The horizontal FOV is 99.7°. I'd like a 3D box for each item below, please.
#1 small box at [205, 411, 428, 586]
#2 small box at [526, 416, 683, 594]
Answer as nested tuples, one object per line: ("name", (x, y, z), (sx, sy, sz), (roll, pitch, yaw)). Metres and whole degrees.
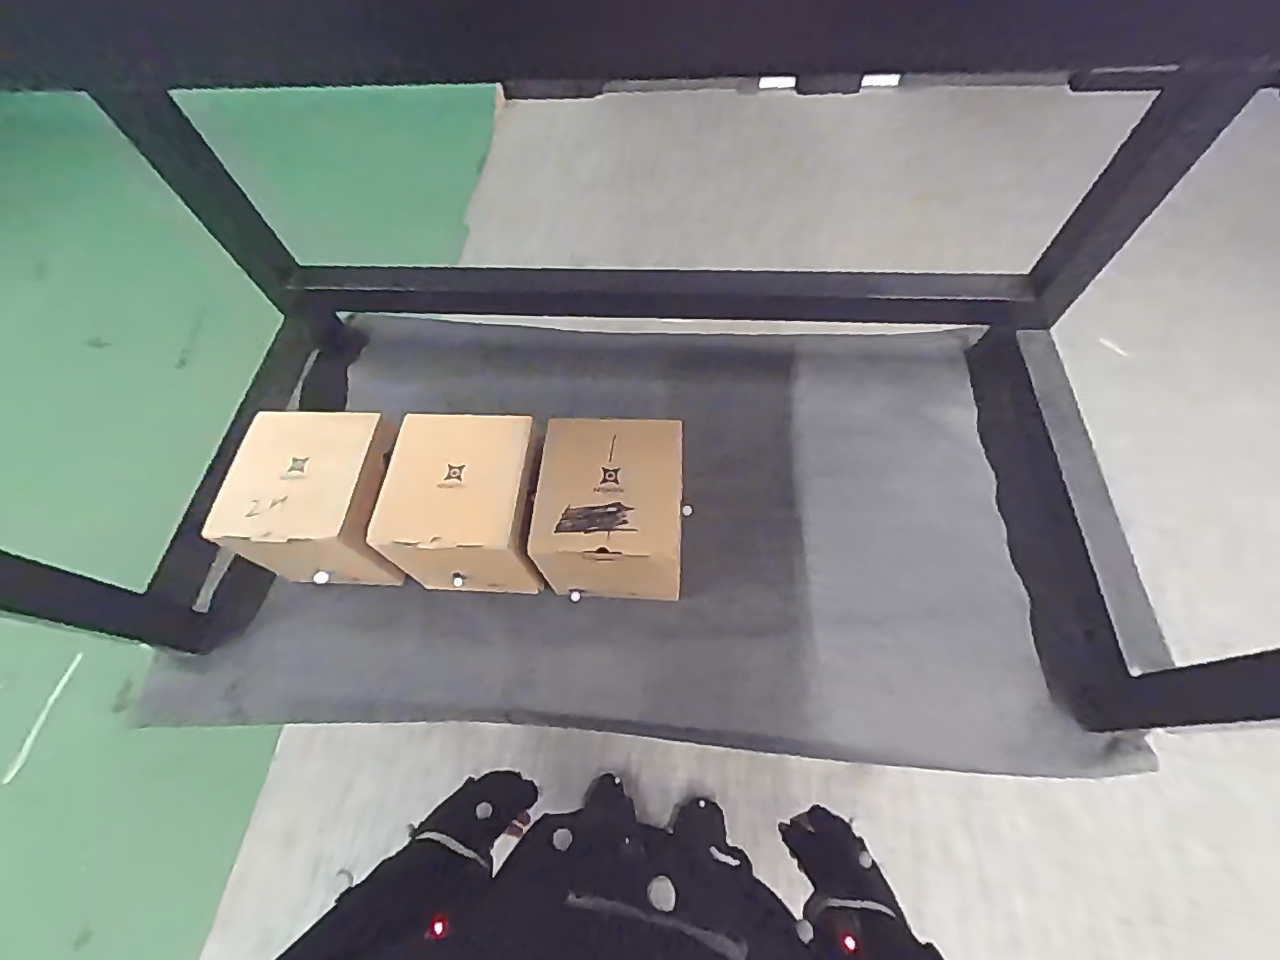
("small box", (-0.404, 0.028, 0.717), (0.168, 0.176, 0.179), (1, 62, 5))
("small box", (-0.031, 0.038, 0.684), (0.168, 0.176, 0.179), (1, 61, 5))
